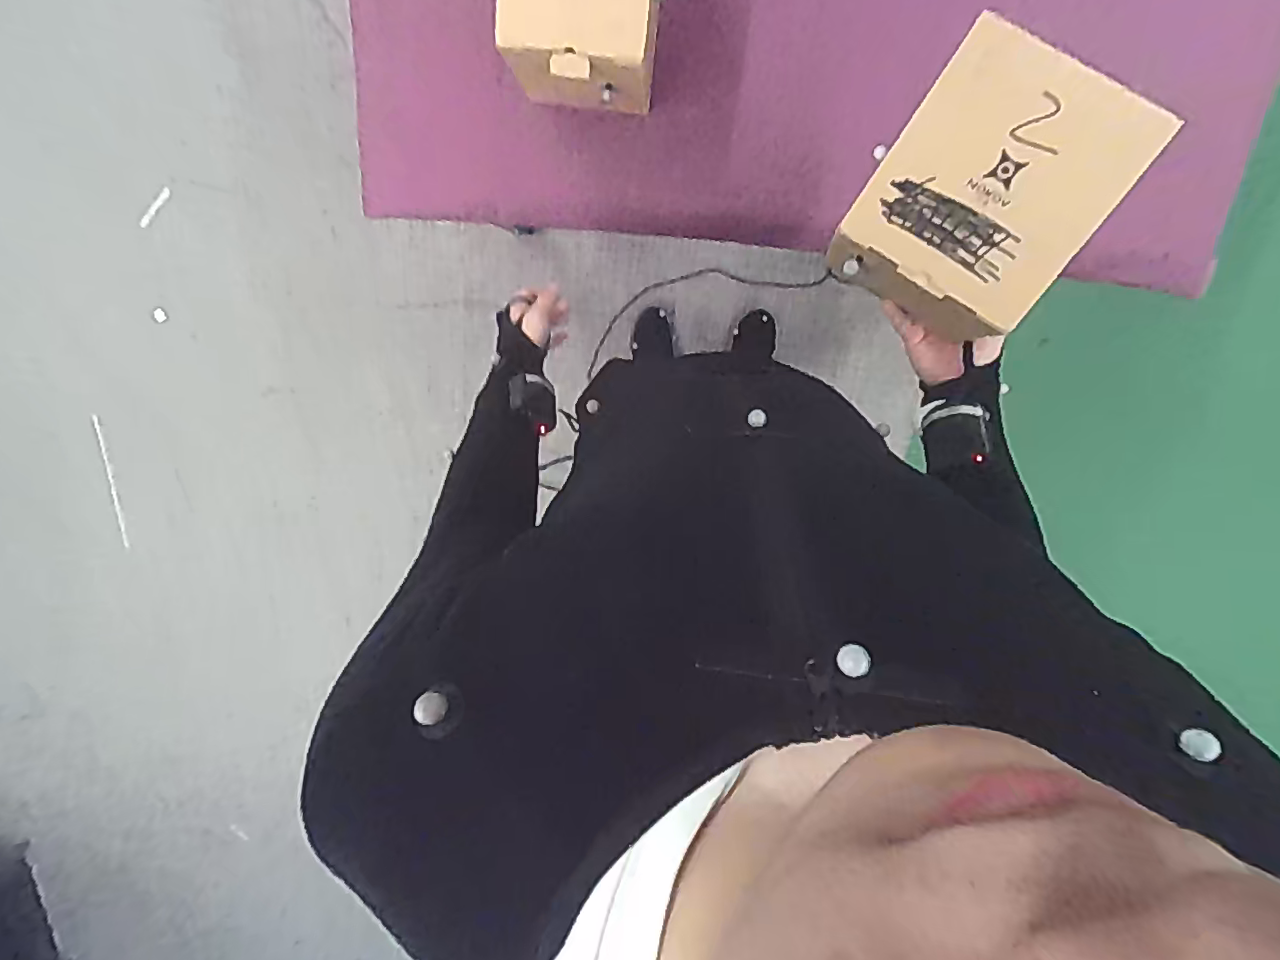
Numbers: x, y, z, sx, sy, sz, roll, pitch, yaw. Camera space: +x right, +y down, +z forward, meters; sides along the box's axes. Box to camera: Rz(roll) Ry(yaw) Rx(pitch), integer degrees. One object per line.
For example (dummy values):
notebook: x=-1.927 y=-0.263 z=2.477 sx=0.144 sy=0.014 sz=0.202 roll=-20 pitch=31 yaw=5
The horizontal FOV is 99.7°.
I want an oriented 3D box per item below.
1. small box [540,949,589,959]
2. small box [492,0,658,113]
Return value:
small box: x=-0.247 y=1.601 z=1.658 sx=0.168 sy=0.176 sz=0.179 roll=9 pitch=106 yaw=0
small box: x=-0.067 y=-0.567 z=0.641 sx=0.168 sy=0.176 sz=0.179 roll=8 pitch=107 yaw=0
